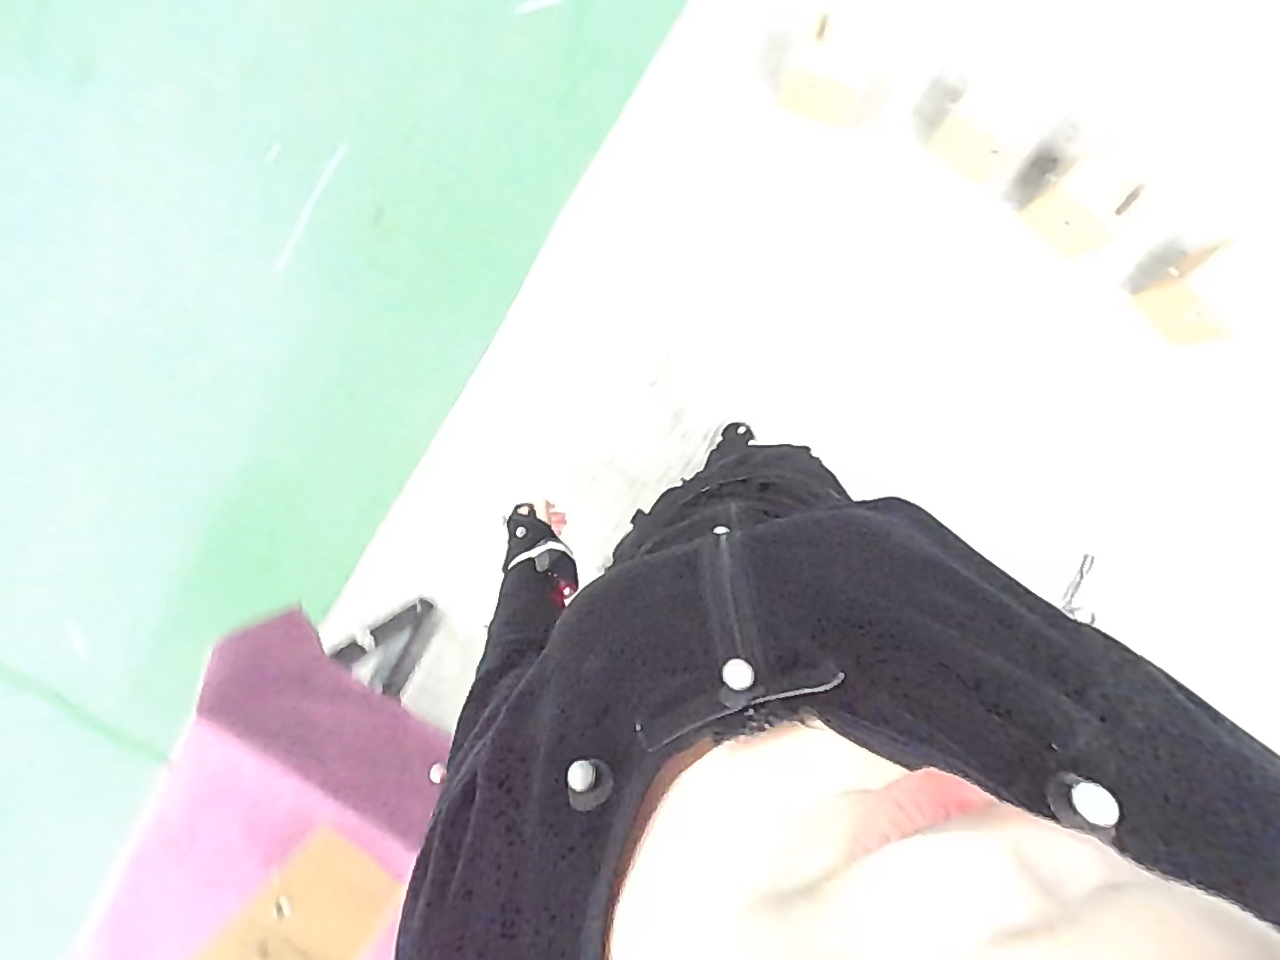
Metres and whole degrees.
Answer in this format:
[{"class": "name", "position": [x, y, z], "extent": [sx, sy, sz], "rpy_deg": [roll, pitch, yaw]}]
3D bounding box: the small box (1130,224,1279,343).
[{"class": "small box", "position": [1.302, -0.438, 1.242], "extent": [0.168, 0.176, 0.179], "rpy_deg": [-41, 90, 8]}]

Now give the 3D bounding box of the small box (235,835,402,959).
[{"class": "small box", "position": [-0.498, 0.687, 0.806], "extent": [0.179, 0.176, 0.168], "rpy_deg": [37, 98, 3]}]
